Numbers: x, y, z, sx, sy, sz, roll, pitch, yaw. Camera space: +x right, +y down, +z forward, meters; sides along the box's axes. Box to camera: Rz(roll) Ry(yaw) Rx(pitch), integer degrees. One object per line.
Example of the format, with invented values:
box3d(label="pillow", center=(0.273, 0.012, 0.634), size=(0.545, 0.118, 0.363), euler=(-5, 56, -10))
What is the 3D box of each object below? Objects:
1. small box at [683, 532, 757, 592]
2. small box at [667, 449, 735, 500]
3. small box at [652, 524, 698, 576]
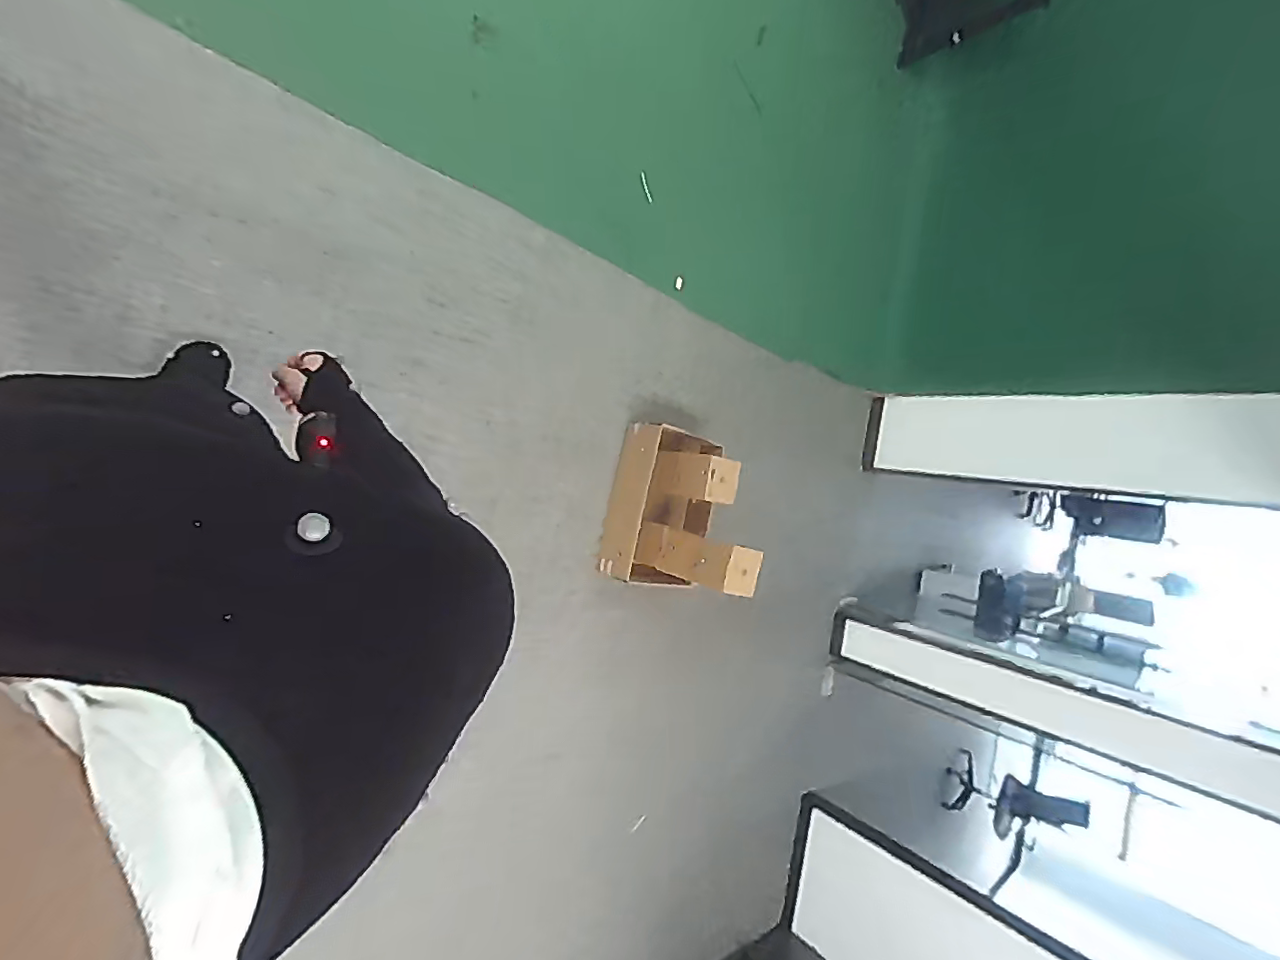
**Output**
box3d(label="small box", center=(0.286, 0.292, 1.940), size=(0.179, 0.176, 0.168), euler=(19, 84, -41))
box3d(label="small box", center=(0.232, -0.023, 2.063), size=(0.179, 0.176, 0.168), euler=(9, 90, -43))
box3d(label="small box", center=(0.178, 0.272, 2.064), size=(0.179, 0.176, 0.168), euler=(18, 85, -41))
